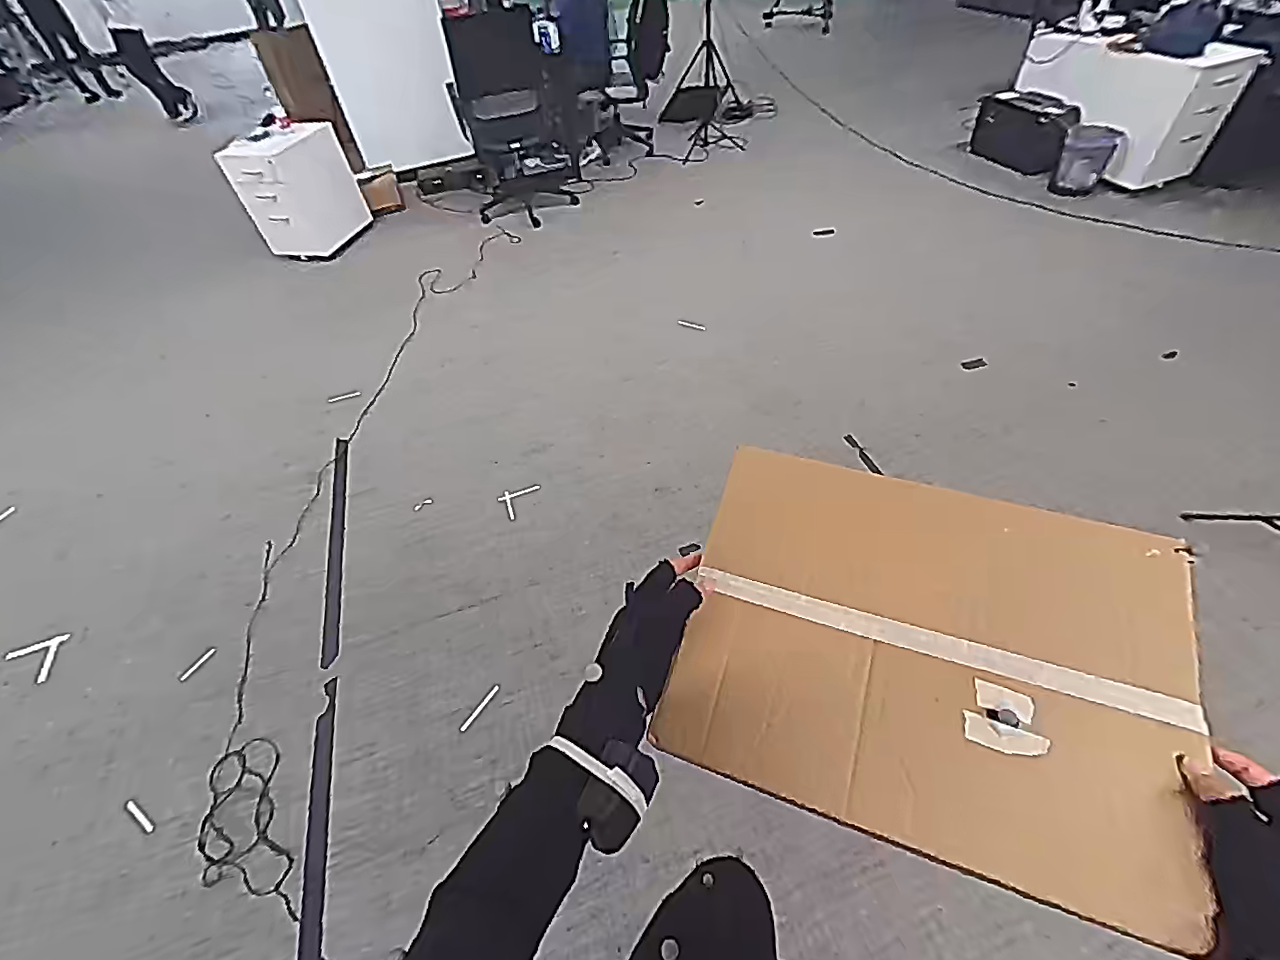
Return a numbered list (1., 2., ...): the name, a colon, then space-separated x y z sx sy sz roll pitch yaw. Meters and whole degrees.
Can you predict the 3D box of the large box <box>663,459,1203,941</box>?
1. large box: 0.270 0.218 0.616 0.408 0.320 0.320 14 65 16
